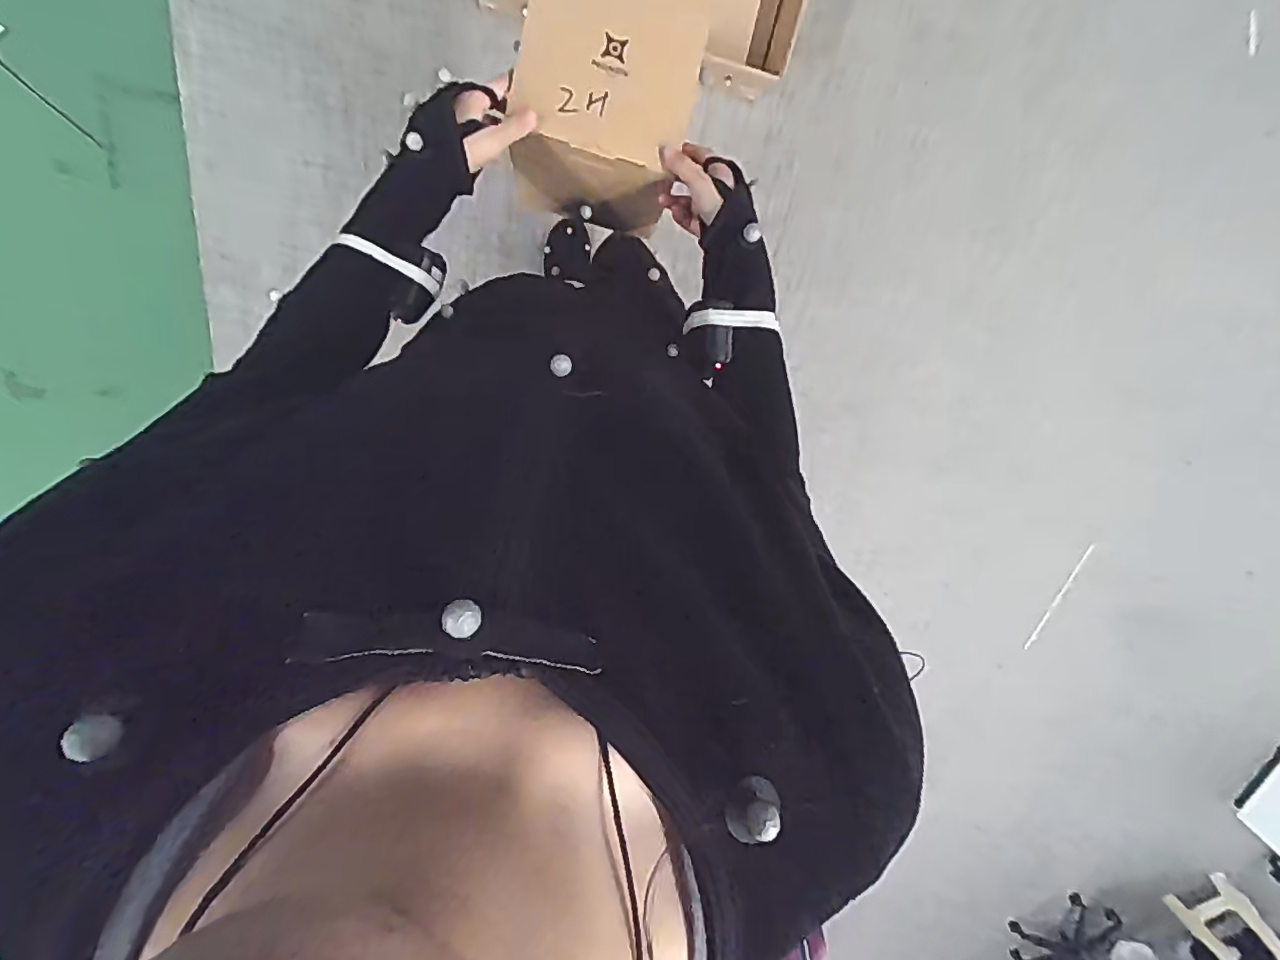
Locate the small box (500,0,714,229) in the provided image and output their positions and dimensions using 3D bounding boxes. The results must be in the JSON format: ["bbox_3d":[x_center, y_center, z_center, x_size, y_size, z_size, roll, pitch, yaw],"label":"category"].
[{"bbox_3d":[-0.038,-0.401,0.572,0.168,0.176,0.179,14,94,-7],"label":"small box"}]
